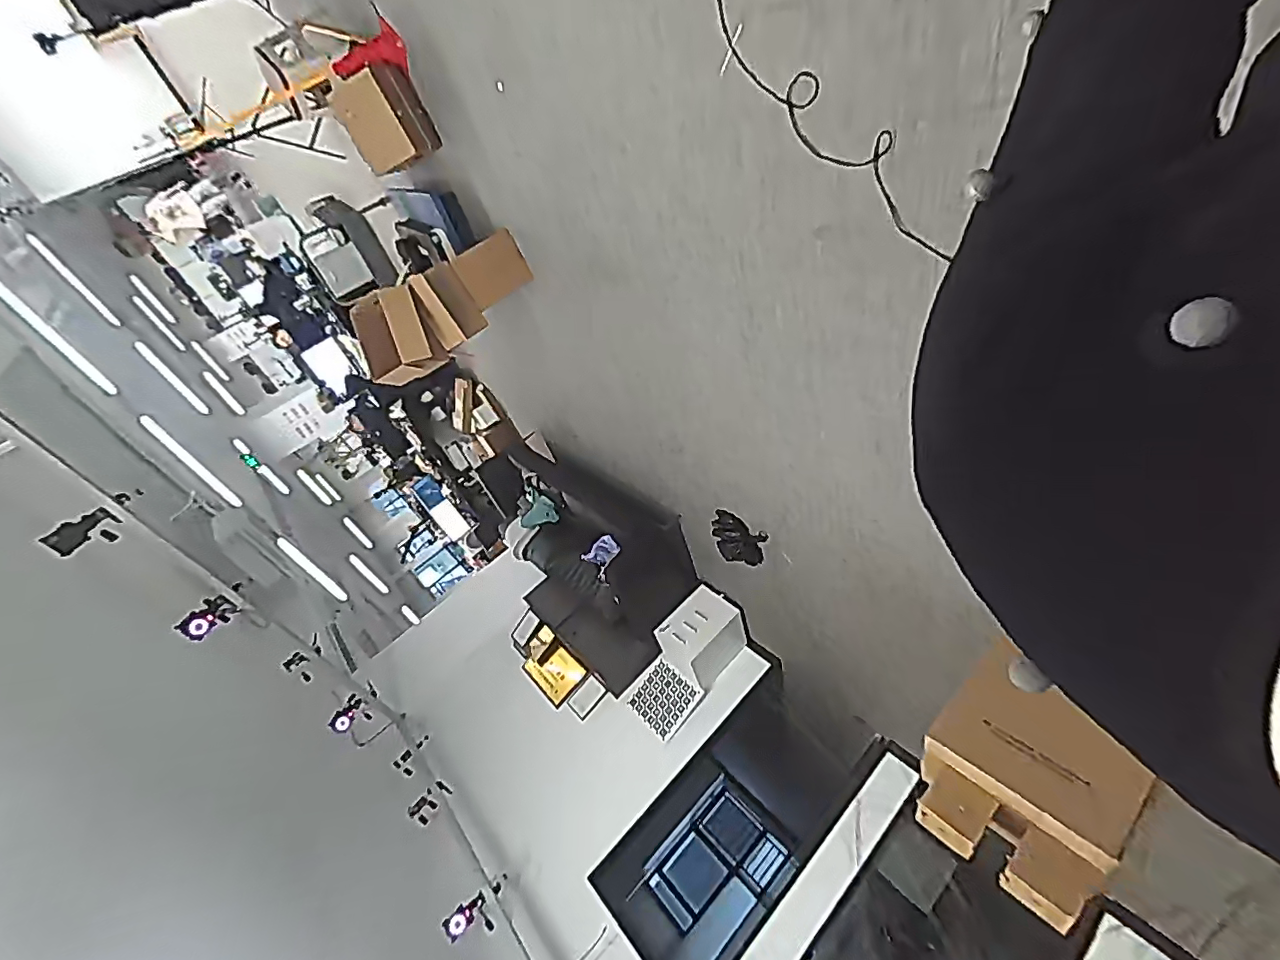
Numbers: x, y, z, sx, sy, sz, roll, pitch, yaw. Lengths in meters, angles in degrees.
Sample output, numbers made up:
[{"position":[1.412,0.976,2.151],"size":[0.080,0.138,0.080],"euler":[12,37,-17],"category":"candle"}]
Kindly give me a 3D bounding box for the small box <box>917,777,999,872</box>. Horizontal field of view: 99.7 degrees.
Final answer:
[{"position":[1.044,1.126,1.777],"size":[0.179,0.176,0.168],"euler":[29,146,42],"category":"small box"}]

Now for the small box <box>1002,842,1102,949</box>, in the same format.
[{"position":[1.213,1.213,1.596],"size":[0.179,0.176,0.168],"euler":[25,145,44],"category":"small box"}]
